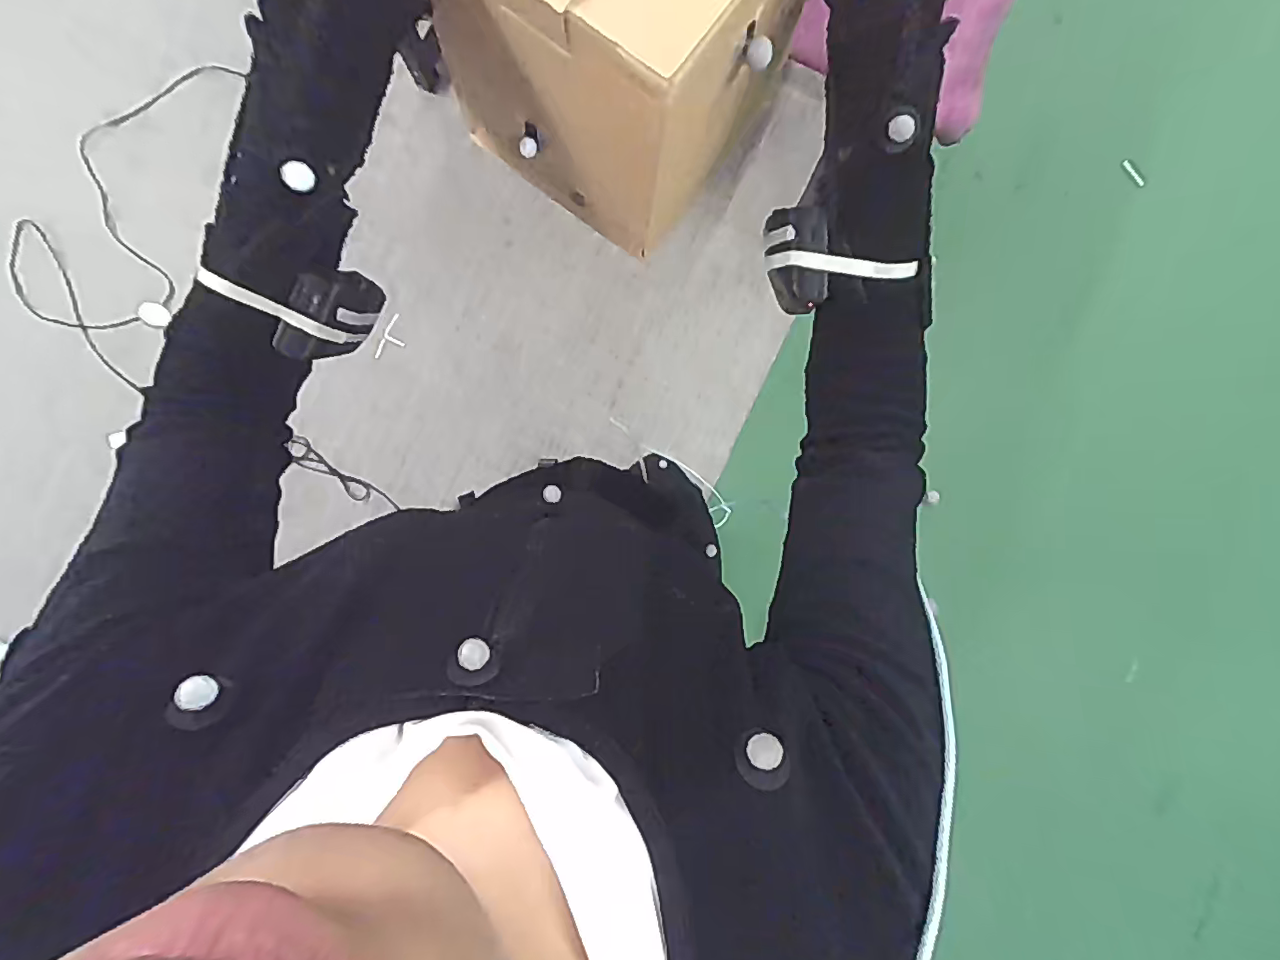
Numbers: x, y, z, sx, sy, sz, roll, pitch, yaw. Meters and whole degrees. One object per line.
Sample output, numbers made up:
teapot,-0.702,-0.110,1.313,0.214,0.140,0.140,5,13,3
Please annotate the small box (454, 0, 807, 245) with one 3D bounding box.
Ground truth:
small box,-0.003,-0.295,0.340,0.168,0.176,0.179,36,83,-1
